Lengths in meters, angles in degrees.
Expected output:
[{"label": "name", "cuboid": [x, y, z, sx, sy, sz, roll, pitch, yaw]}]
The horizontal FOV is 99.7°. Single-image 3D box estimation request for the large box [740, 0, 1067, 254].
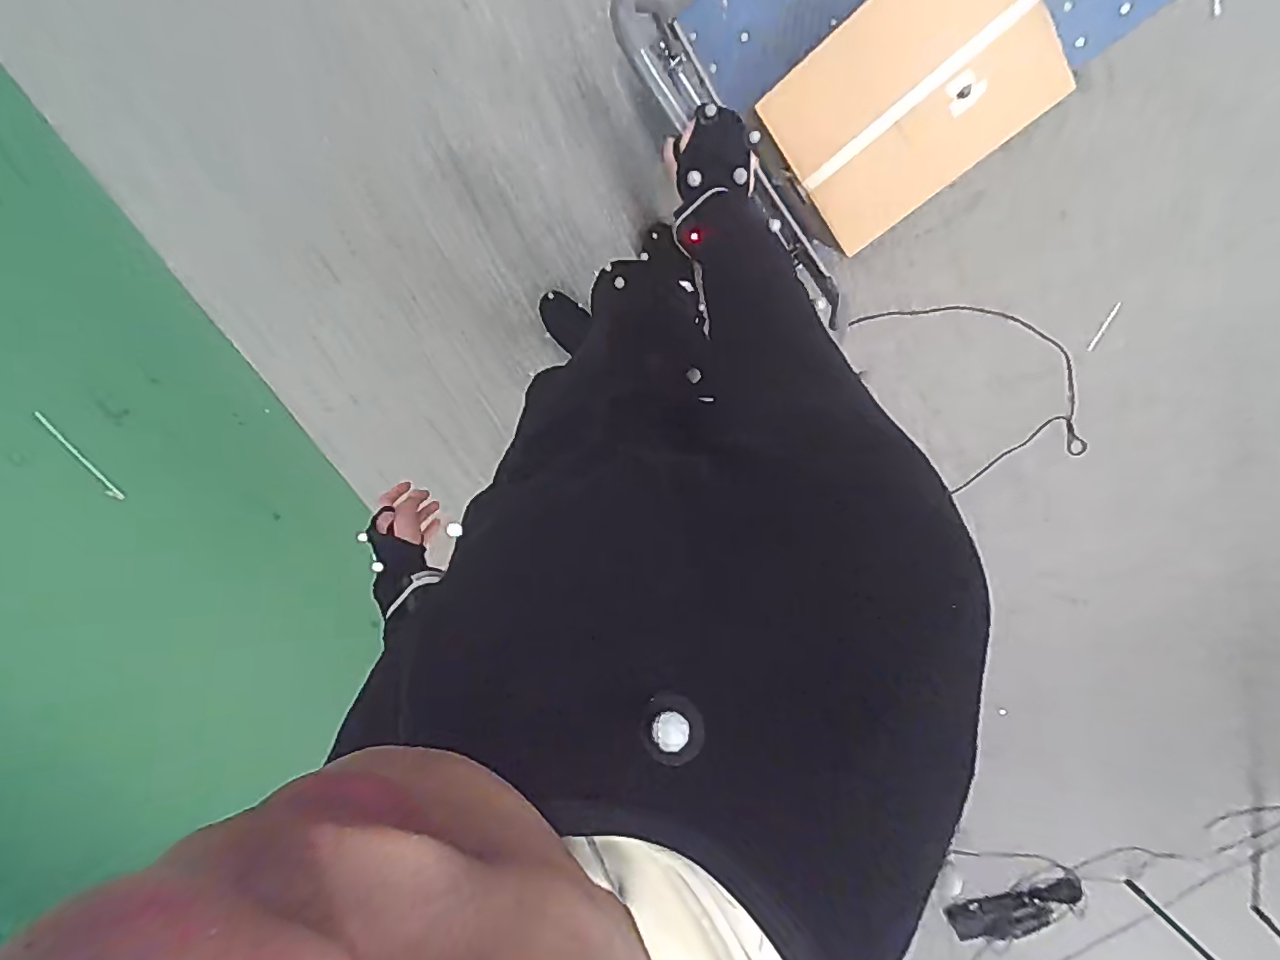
[{"label": "large box", "cuboid": [0.448, -0.696, 1.013, 0.408, 0.320, 0.320, -34, 112, 20]}]
